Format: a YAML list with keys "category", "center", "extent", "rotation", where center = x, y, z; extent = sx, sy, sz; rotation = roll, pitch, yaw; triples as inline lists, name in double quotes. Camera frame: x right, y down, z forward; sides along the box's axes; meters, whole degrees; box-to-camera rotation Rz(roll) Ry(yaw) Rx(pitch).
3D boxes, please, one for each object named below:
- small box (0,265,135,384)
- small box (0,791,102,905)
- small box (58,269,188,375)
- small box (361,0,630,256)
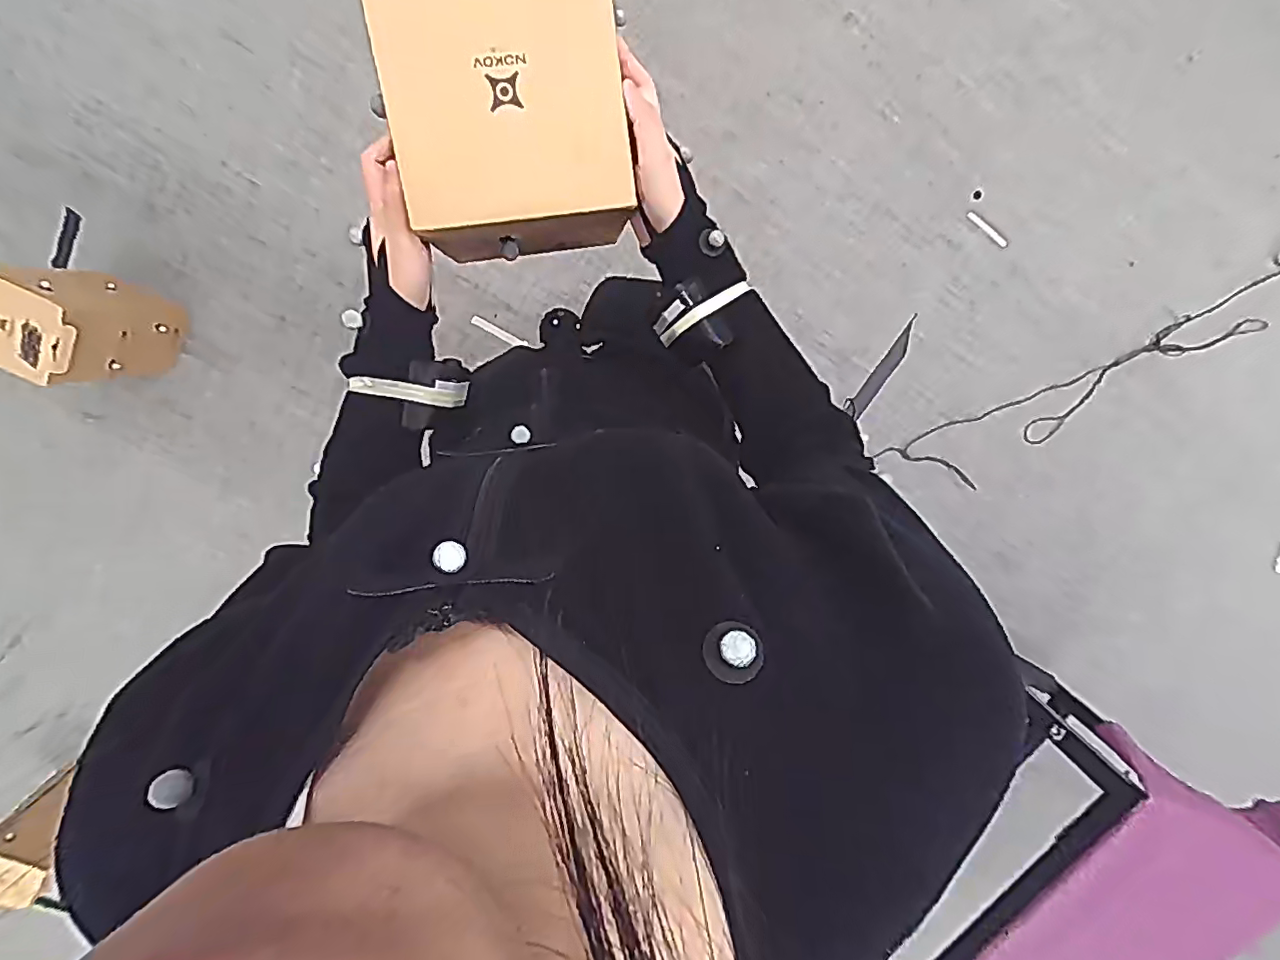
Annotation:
- category: "small box"
  center: [-1.166, -0.311, 1.066]
  extent: [0.179, 0.176, 0.168]
  rotation: [26, 104, -13]
- category: "small box"
  center: [-1.627, 0.977, 1.449]
  extent: [0.179, 0.176, 0.168]
  rotation: [33, 103, -16]
- category: "small box"
  center: [-1.184, -0.359, 1.223]
  extent: [0.179, 0.176, 0.168]
  rotation: [25, 103, -12]
- category: "small box"
  center: [-0.104, -0.293, 0.449]
  extent: [0.168, 0.176, 0.179]
  rotation: [-9, 104, -5]
